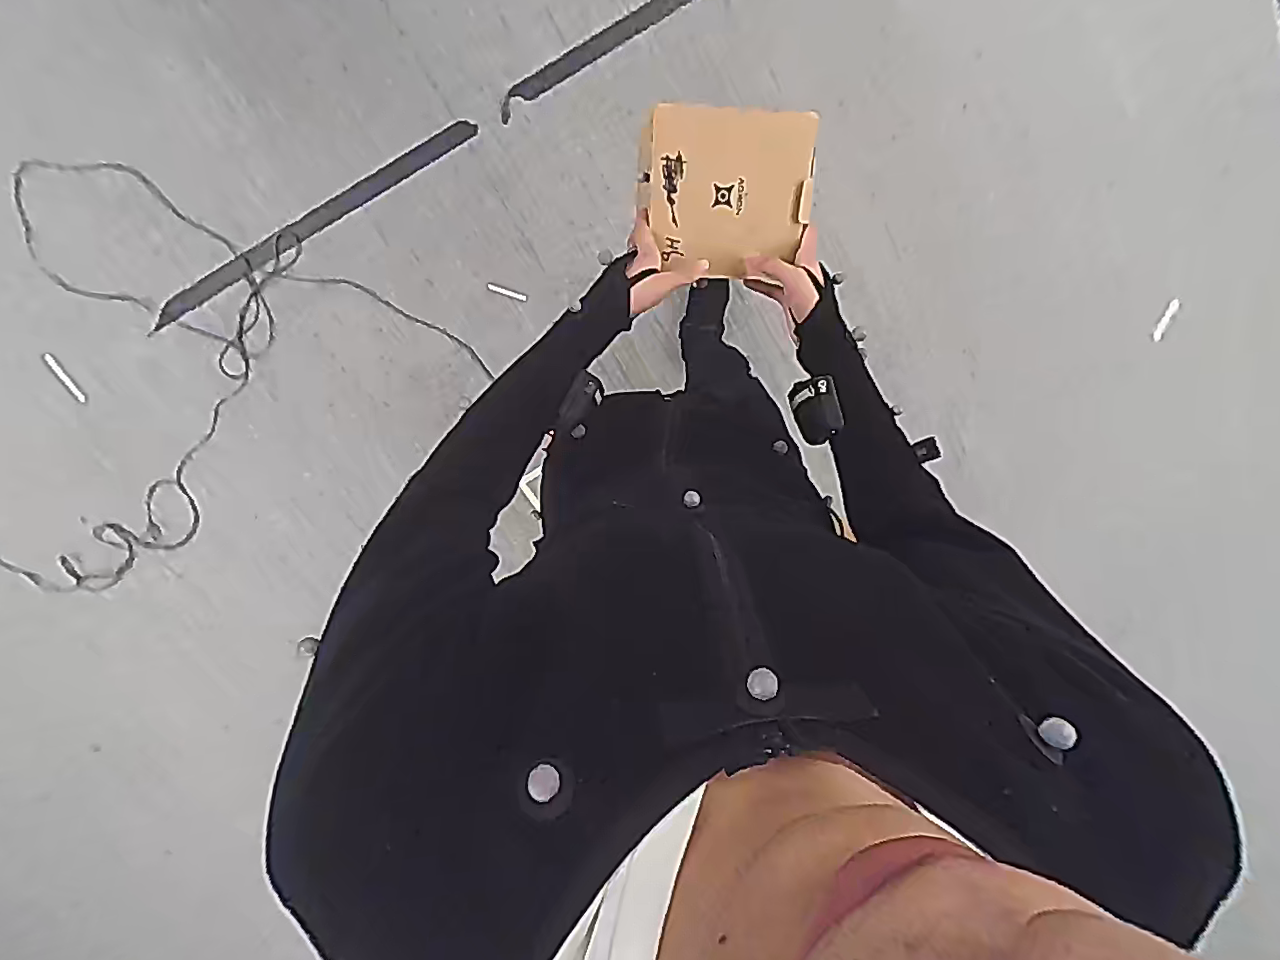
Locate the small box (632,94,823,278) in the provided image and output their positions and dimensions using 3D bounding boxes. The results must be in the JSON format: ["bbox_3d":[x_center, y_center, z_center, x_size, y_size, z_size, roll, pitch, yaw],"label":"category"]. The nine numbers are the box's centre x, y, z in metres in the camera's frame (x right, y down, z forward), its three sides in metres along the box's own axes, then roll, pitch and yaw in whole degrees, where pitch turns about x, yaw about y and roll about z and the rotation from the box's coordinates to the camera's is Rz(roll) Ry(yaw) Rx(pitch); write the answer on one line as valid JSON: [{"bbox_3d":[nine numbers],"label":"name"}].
[{"bbox_3d":[0.089,-0.335,0.641,0.179,0.176,0.168,-1,113,-6],"label":"small box"}]
